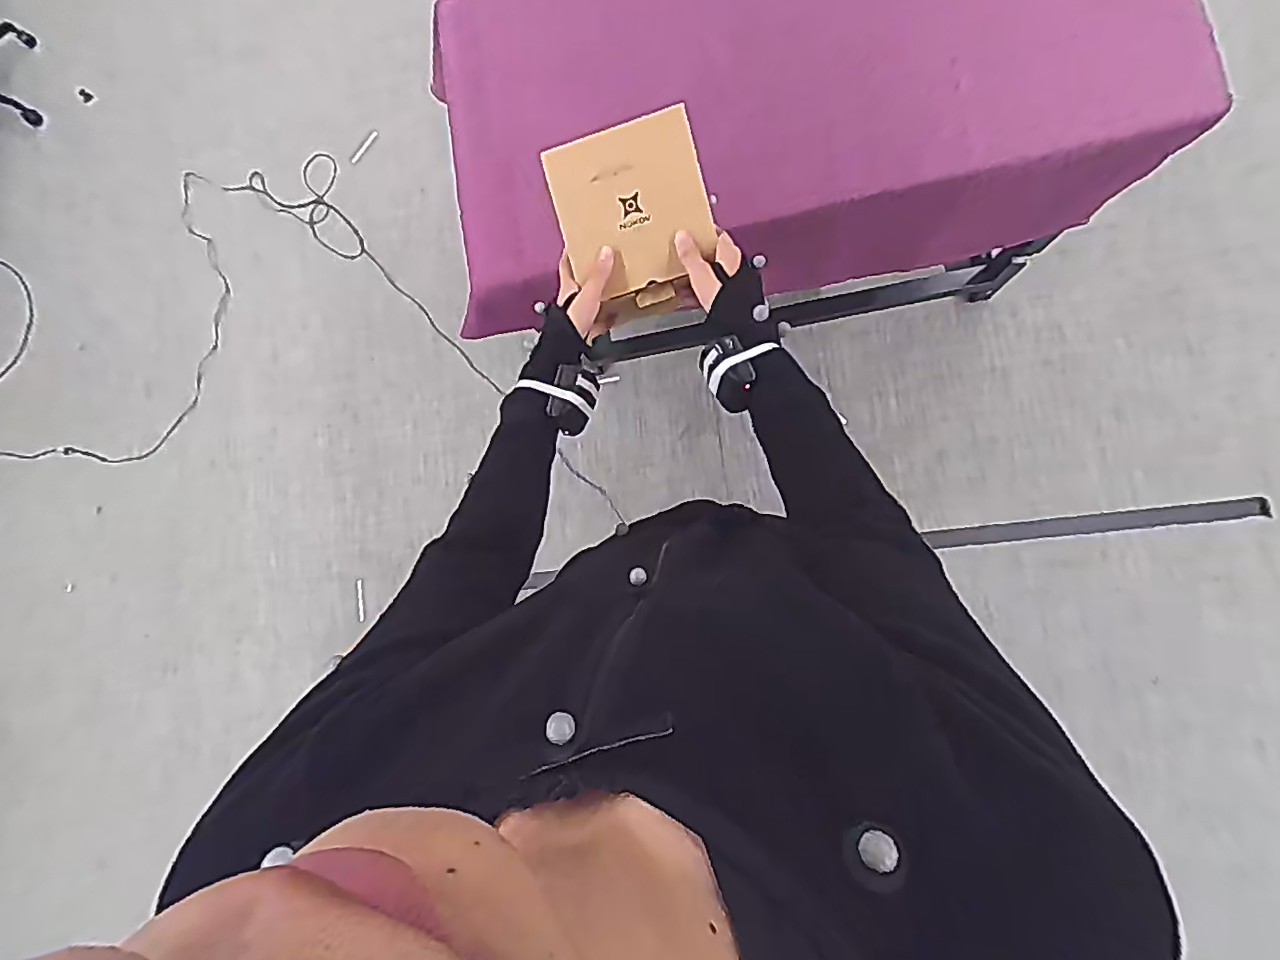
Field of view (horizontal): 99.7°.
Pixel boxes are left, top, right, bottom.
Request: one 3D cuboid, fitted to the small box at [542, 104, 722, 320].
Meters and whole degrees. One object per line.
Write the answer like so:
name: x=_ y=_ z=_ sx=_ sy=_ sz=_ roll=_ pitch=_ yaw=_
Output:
small box: x=0.000 y=-0.307 z=0.668 sx=0.168 sy=0.176 sz=0.179 roll=-15 pitch=96 yaw=7
